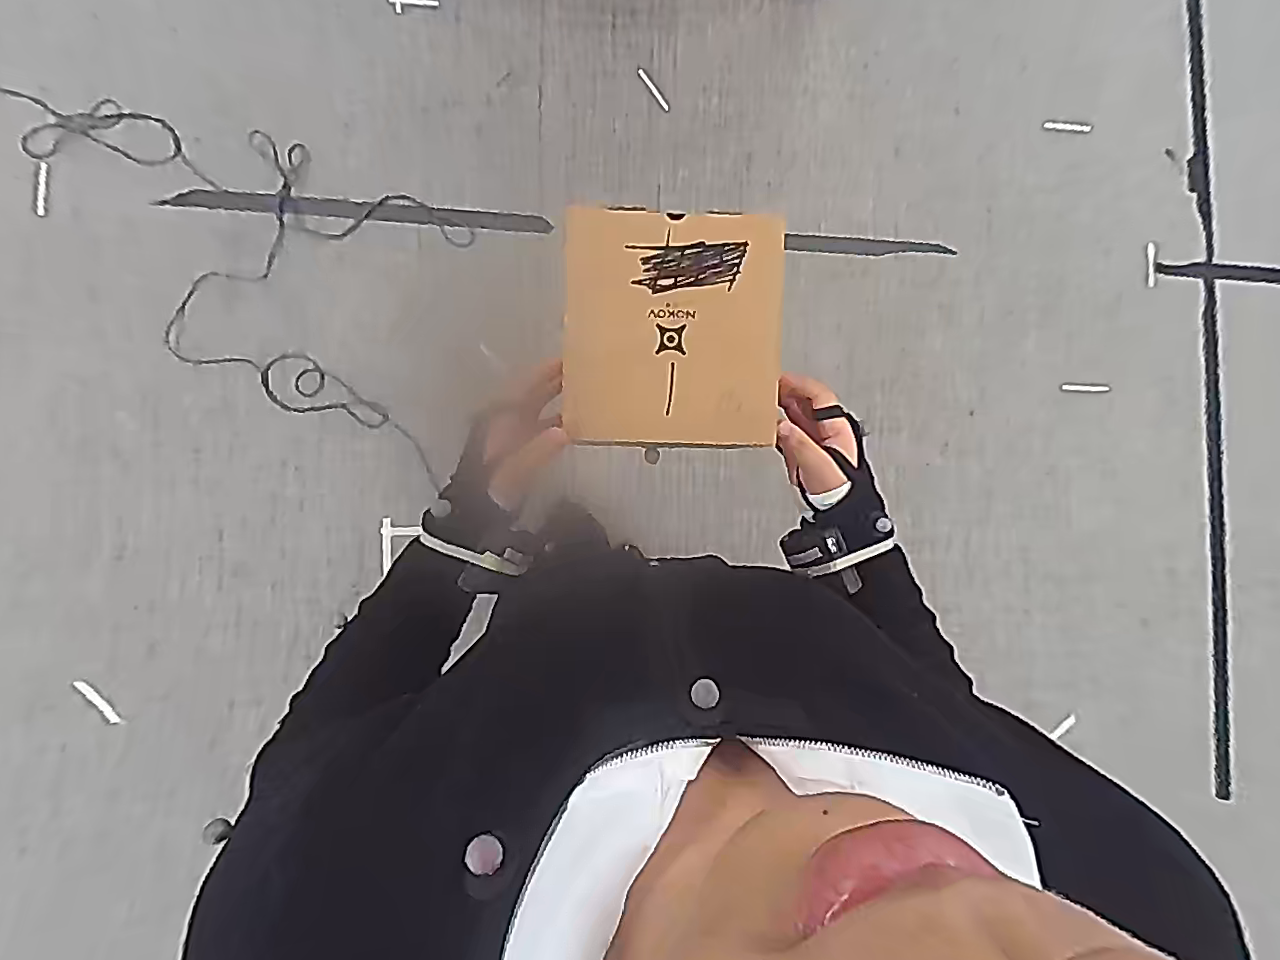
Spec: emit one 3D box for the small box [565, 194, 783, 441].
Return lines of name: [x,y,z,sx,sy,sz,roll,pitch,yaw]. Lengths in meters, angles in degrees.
small box: [0.022,-0.128,0.490,0.168,0.176,0.179,1,93,-2]
